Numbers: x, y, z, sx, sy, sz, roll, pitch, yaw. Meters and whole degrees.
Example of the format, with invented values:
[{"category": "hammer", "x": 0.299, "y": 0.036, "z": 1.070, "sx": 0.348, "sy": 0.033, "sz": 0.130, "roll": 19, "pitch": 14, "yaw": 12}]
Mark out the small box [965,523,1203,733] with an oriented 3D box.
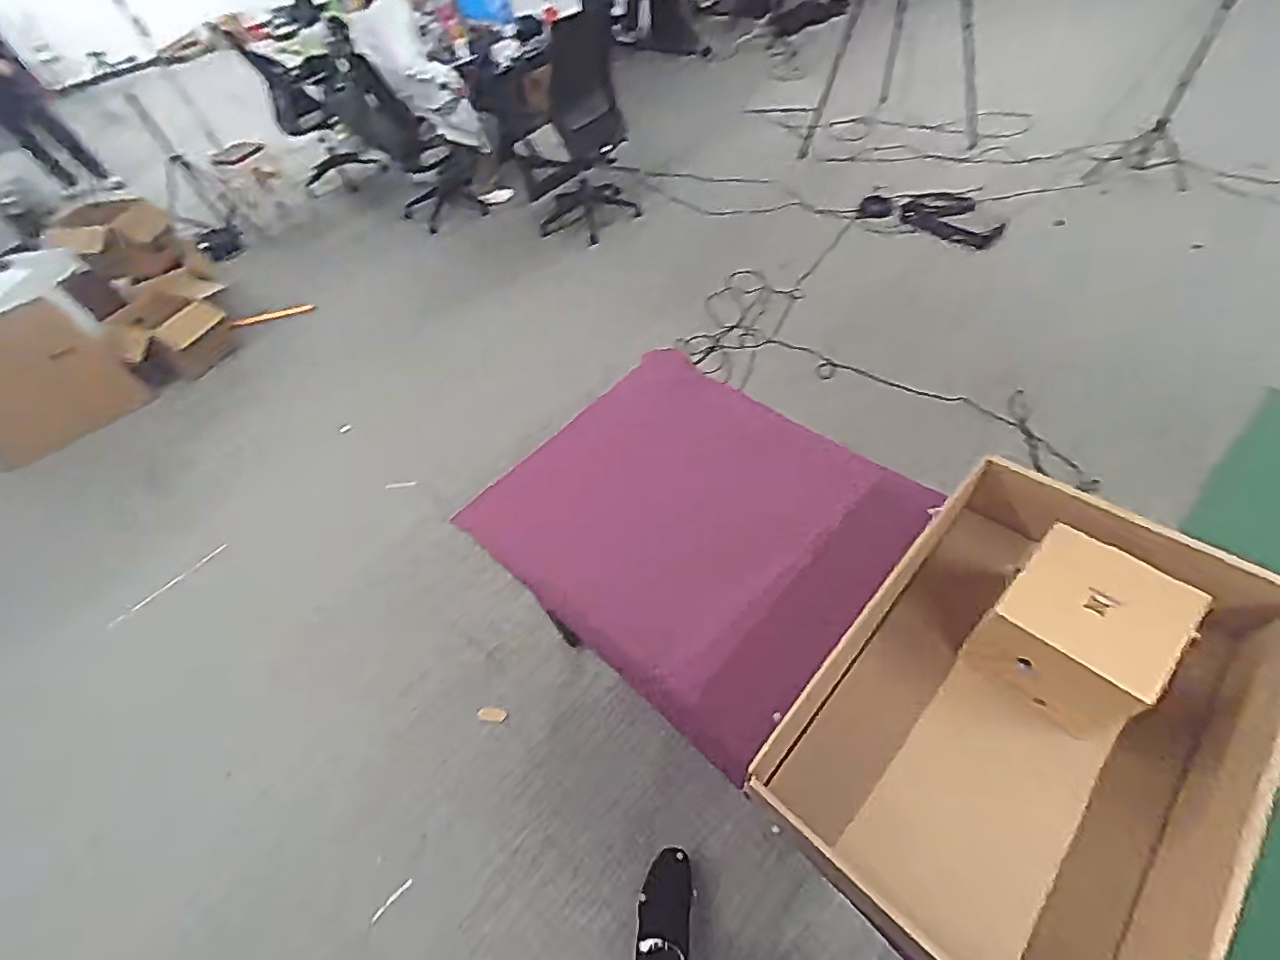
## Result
[{"category": "small box", "x": 0.561, "y": 0.198, "z": 0.712, "sx": 0.179, "sy": 0.176, "sz": 0.168, "roll": -40, "pitch": 55, "yaw": -20}]
